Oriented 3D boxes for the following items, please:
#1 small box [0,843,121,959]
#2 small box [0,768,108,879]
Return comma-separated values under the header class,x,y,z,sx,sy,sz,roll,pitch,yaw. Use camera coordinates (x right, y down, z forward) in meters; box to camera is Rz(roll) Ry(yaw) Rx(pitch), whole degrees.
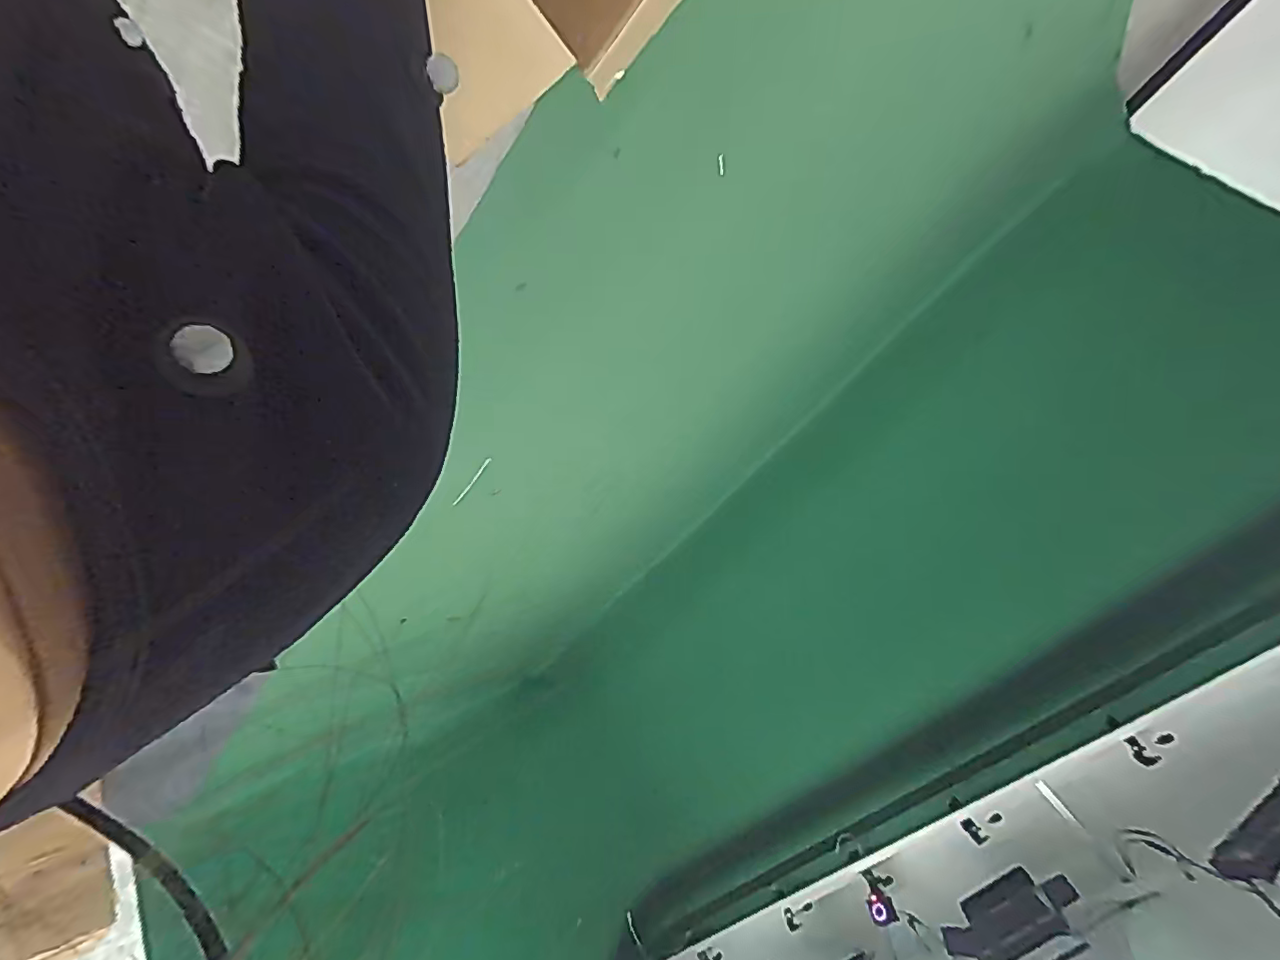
class,x,y,z,sx,sy,sz,roll,pitch,yaw
small box,-1.198,0.880,1.095,0.179,0.176,0.168,-45,153,21
small box,-1.285,0.757,1.160,0.179,0.176,0.168,-47,154,22
